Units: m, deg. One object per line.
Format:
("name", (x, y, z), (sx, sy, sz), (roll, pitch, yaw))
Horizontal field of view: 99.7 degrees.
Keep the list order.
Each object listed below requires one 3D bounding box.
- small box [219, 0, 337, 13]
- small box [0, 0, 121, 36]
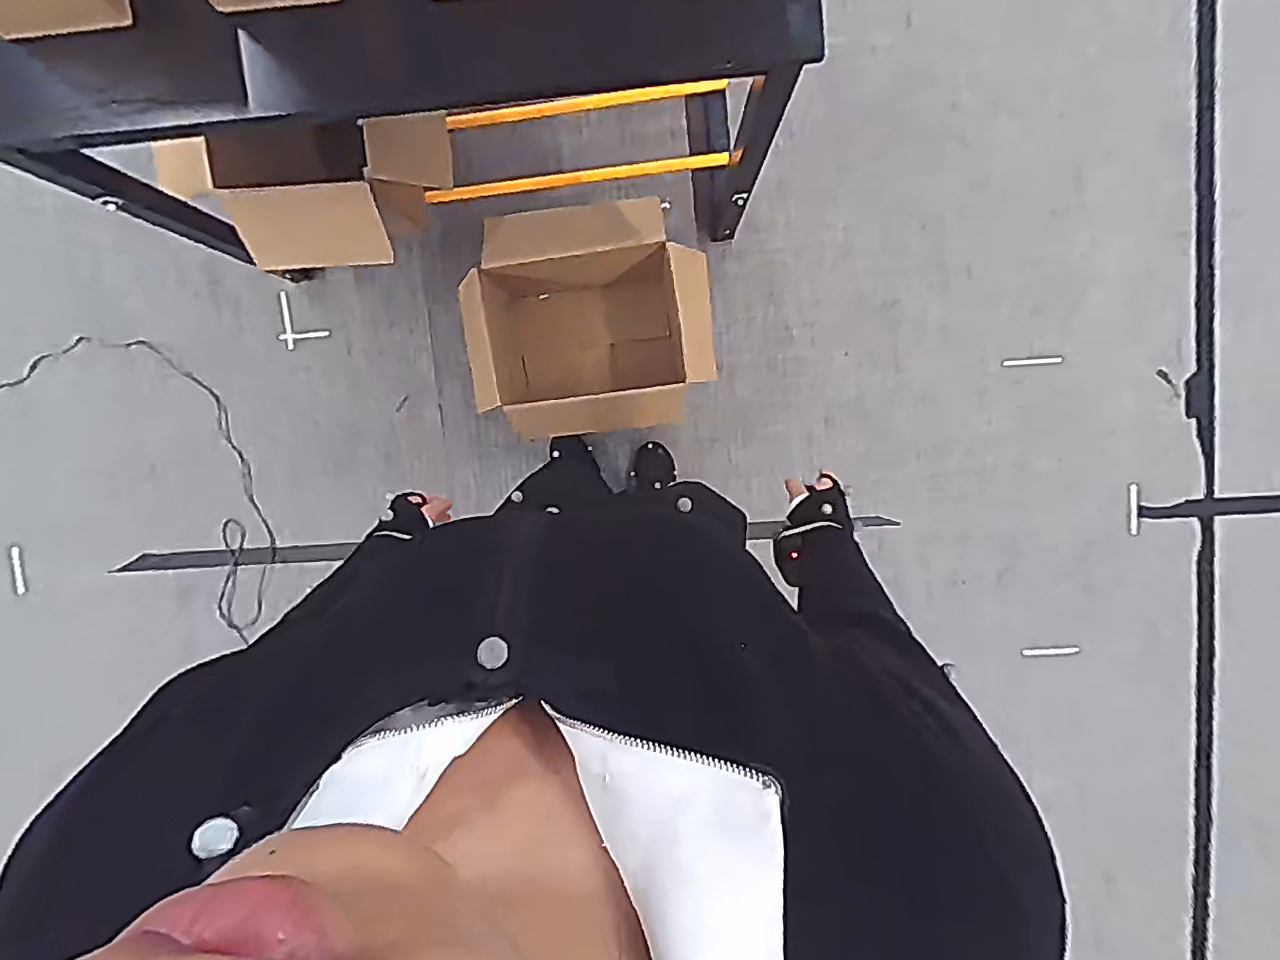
("small box", (-0.476, -0.695, 0.621), (0.168, 0.176, 0.179), (-4, 95, 2))
("small box", (-0.759, -0.664, 0.626), (0.179, 0.176, 0.168), (-5, 94, 1))
